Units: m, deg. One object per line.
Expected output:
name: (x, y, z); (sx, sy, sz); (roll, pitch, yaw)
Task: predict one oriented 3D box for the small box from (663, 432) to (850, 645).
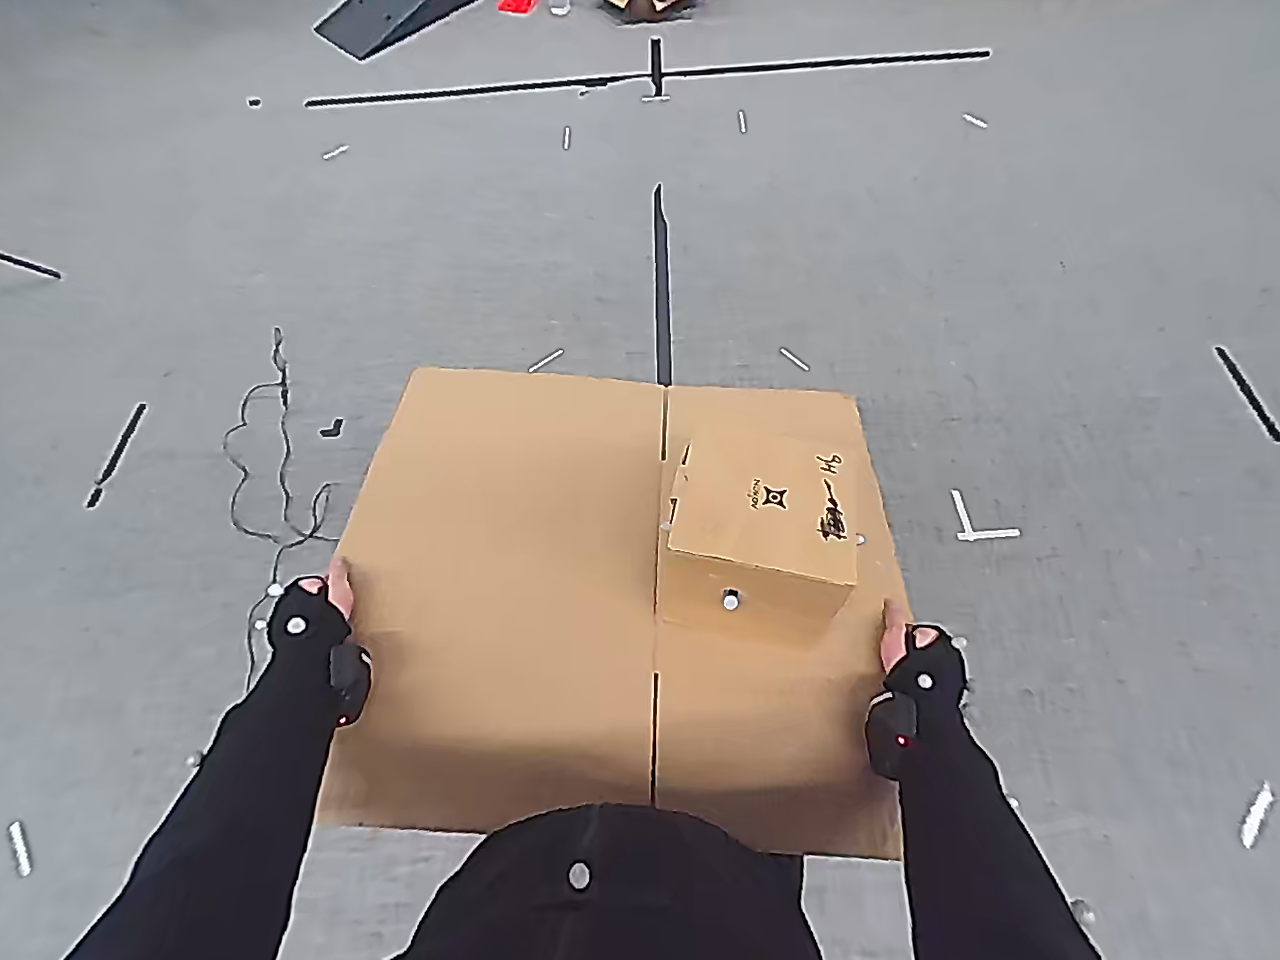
small box: (0.126, 0.070, 0.612); (0.179, 0.176, 0.168); (9, 54, 8)
